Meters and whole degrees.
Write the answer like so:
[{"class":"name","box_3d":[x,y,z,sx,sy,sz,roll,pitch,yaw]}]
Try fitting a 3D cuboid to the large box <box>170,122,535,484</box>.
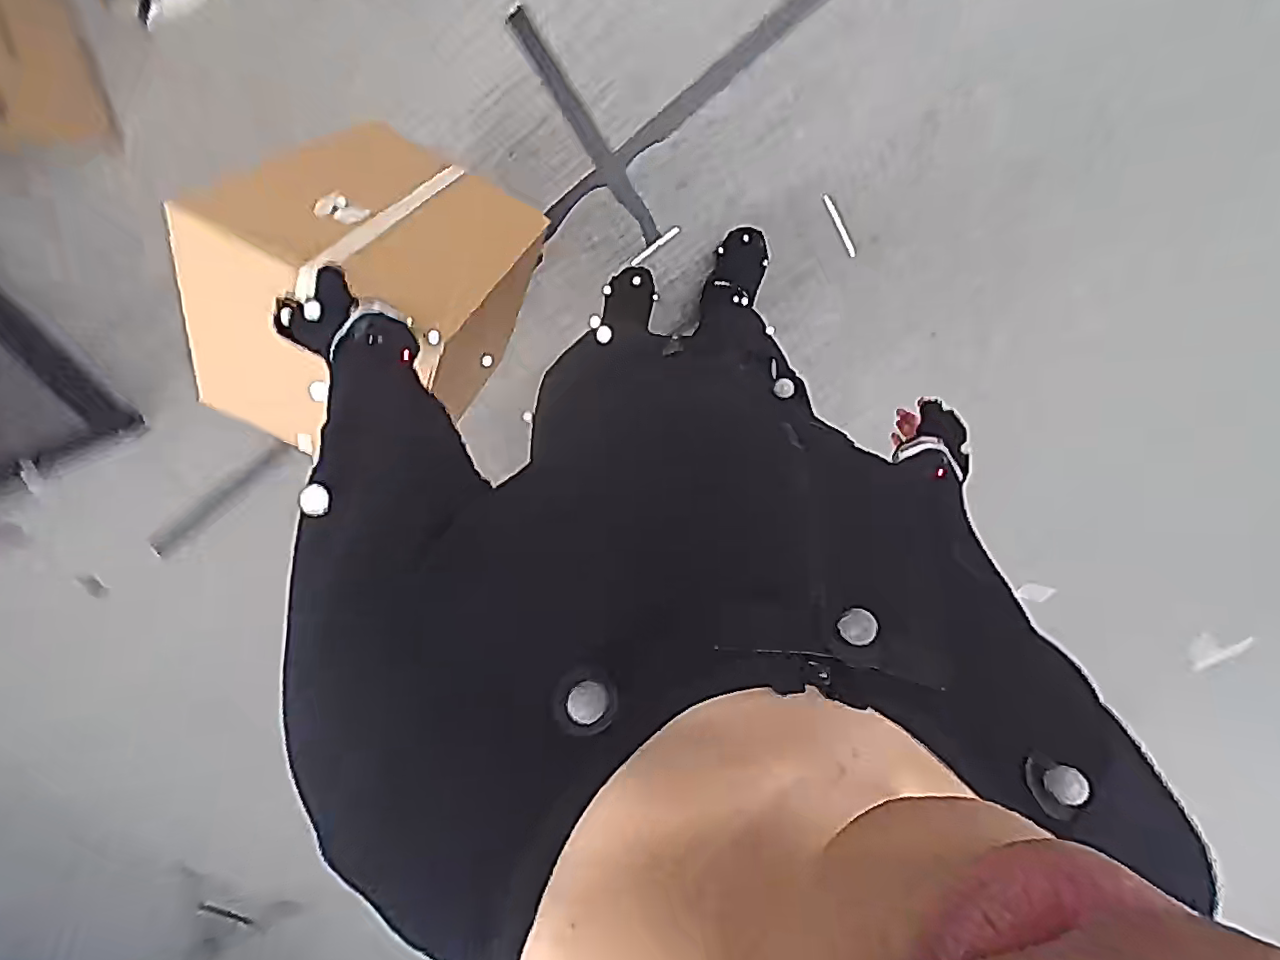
[{"class":"large box","box_3d":[-0.410,-0.277,0.854,0.320,0.408,0.320,27,136,-12]}]
